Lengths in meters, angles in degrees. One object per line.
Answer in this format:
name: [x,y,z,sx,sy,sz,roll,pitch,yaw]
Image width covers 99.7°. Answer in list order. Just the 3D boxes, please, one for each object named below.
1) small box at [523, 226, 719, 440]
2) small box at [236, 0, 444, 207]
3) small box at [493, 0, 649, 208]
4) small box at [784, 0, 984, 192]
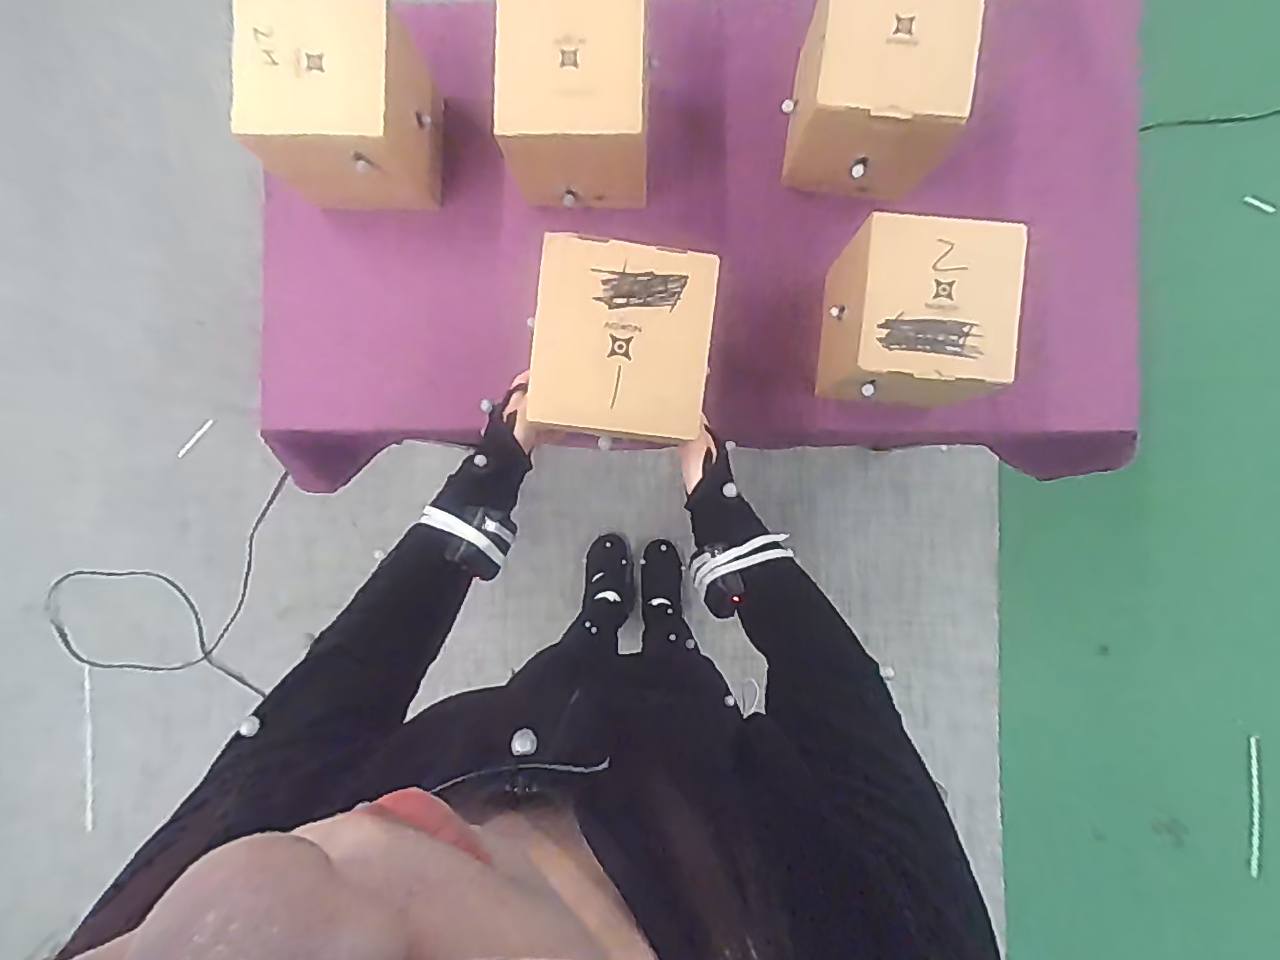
small box: [-0.022,-0.140,0.577,0.168,0.176,0.179,7,93,-3]
small box: [-0.362,-0.468,0.684,0.179,0.176,0.168,2,90,2]
small box: [-0.075,-0.471,0.675,0.168,0.176,0.179,2,90,3]
small box: [0.282,-0.481,0.659,0.168,0.176,0.179,8,91,2]
